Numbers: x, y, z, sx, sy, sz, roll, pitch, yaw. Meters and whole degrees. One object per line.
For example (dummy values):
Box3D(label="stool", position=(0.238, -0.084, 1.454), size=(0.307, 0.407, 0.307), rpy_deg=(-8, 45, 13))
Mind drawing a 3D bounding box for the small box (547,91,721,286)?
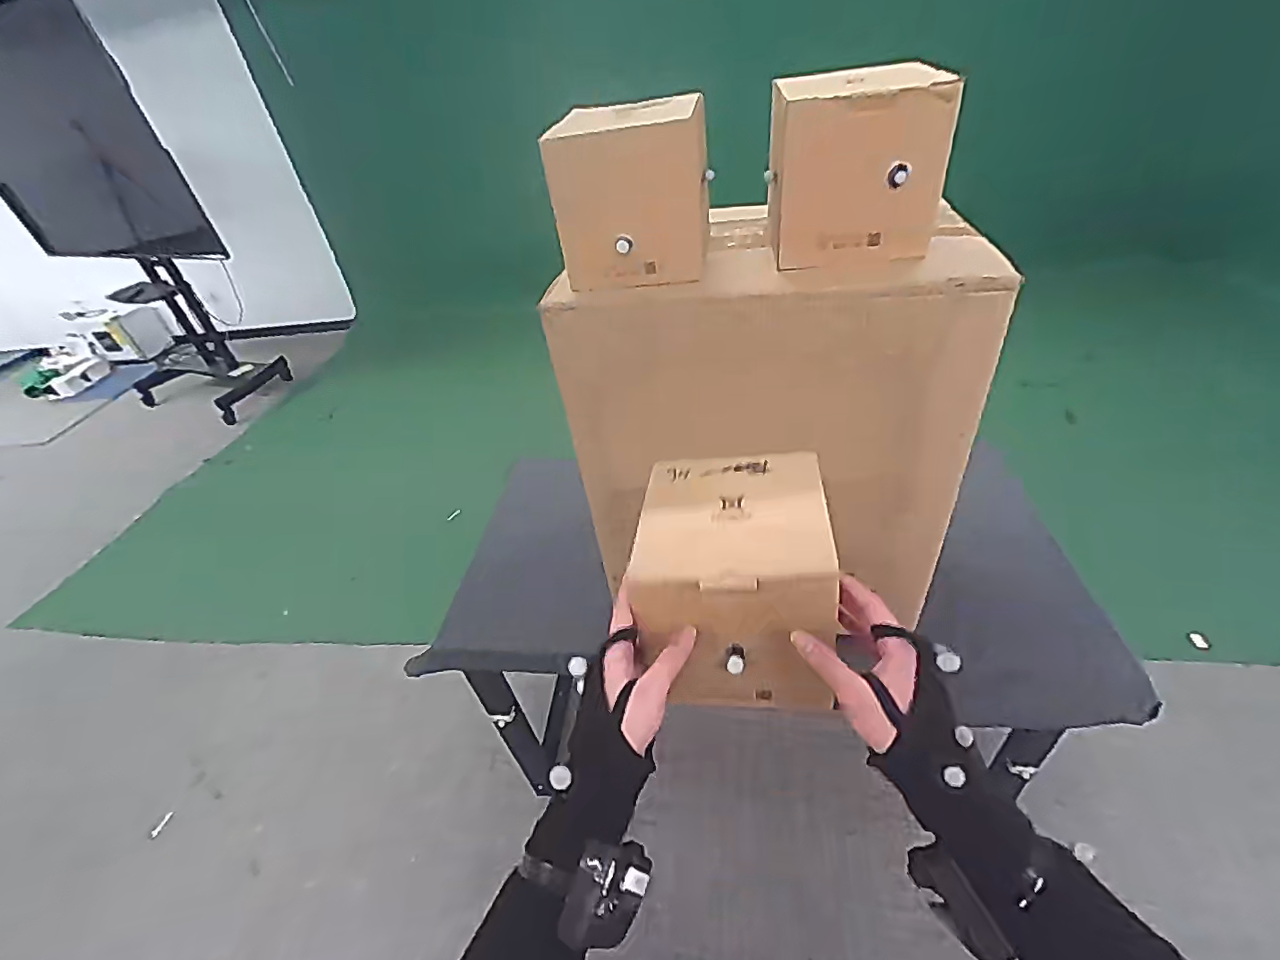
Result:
Box3D(label="small box", position=(0.007, -0.350, 0.655), size=(0.168, 0.176, 0.179), rpy_deg=(1, 42, 14))

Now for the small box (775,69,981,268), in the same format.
Box3D(label="small box", position=(0.252, -0.354, 0.625), size=(0.168, 0.176, 0.179), rpy_deg=(0, 41, 6))
